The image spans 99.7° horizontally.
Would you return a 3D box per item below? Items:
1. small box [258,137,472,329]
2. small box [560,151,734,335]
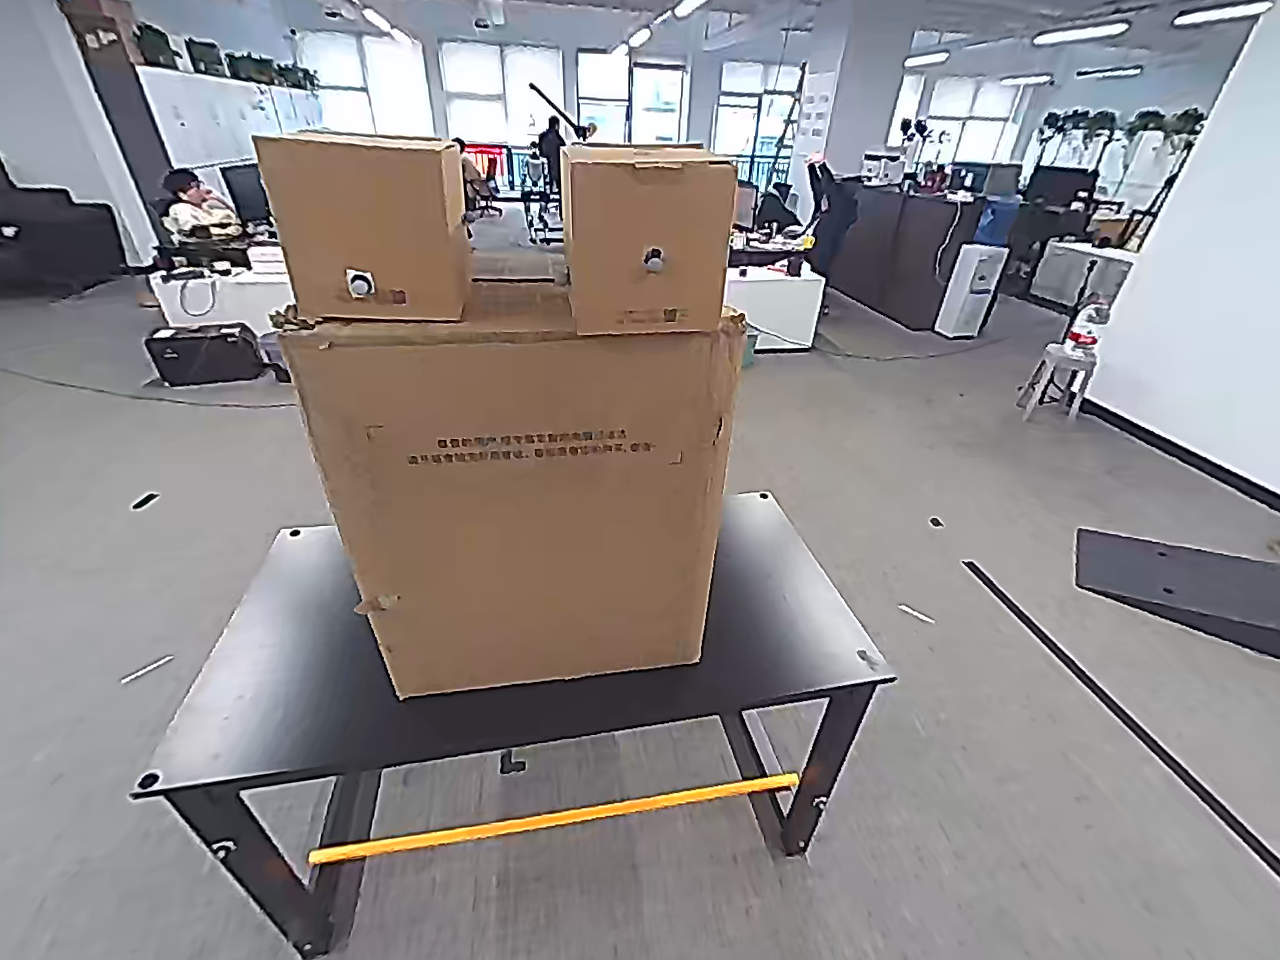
[{"bbox_3d":[-0.288,-0.282,0.615,0.168,0.176,0.179,-3,34,-11],"label":"small box"},{"bbox_3d":[-0.001,-0.273,0.624,0.168,0.176,0.179,-5,36,-9],"label":"small box"}]
